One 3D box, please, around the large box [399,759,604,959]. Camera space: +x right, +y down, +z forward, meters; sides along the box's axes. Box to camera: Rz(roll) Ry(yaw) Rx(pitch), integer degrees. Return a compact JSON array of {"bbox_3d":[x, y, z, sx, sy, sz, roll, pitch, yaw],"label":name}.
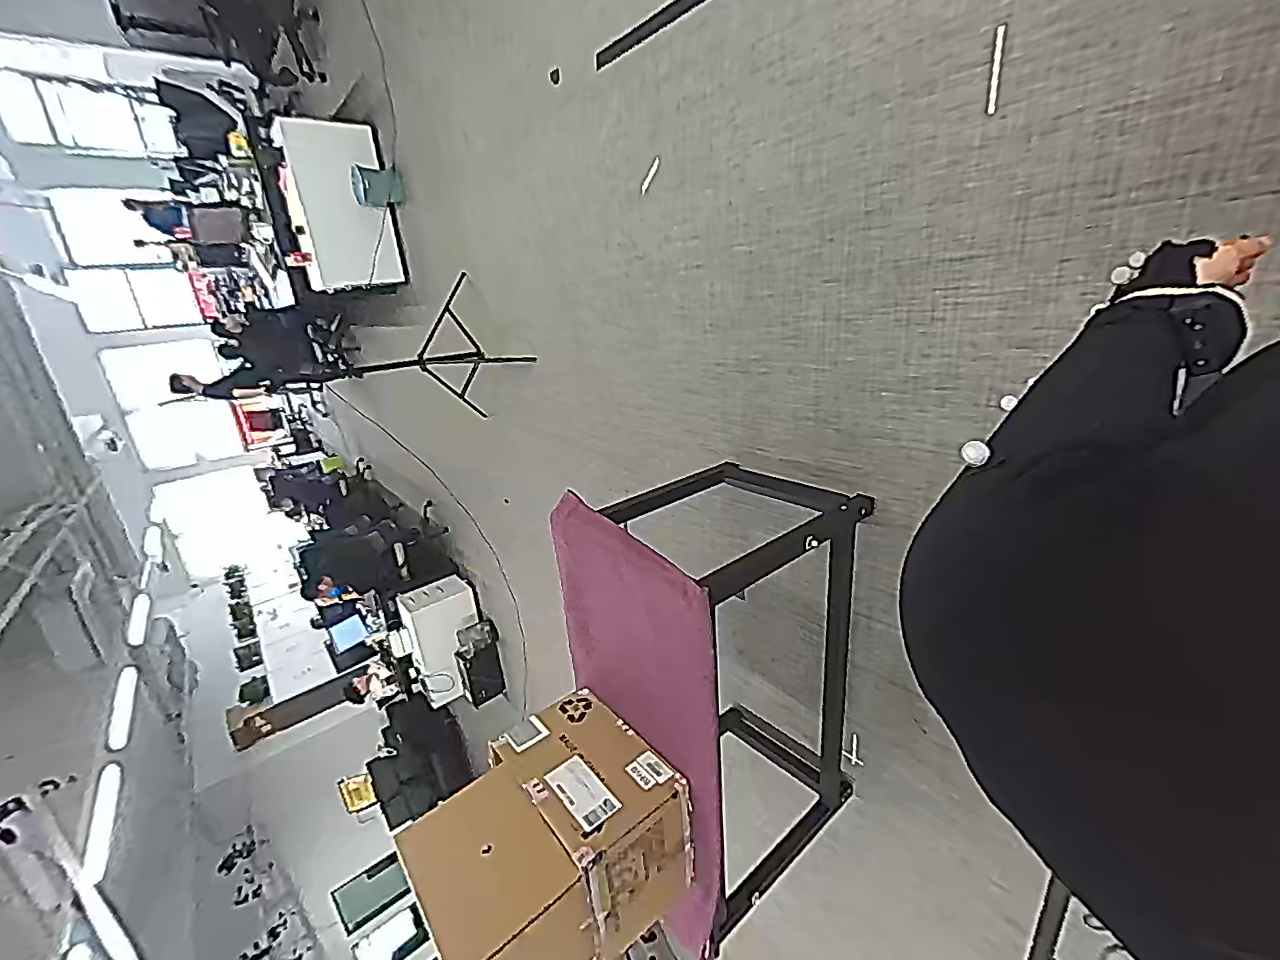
[{"bbox_3d":[-0.342,0.997,1.333,0.408,0.320,0.320,21,126,48],"label":"large box"}]
